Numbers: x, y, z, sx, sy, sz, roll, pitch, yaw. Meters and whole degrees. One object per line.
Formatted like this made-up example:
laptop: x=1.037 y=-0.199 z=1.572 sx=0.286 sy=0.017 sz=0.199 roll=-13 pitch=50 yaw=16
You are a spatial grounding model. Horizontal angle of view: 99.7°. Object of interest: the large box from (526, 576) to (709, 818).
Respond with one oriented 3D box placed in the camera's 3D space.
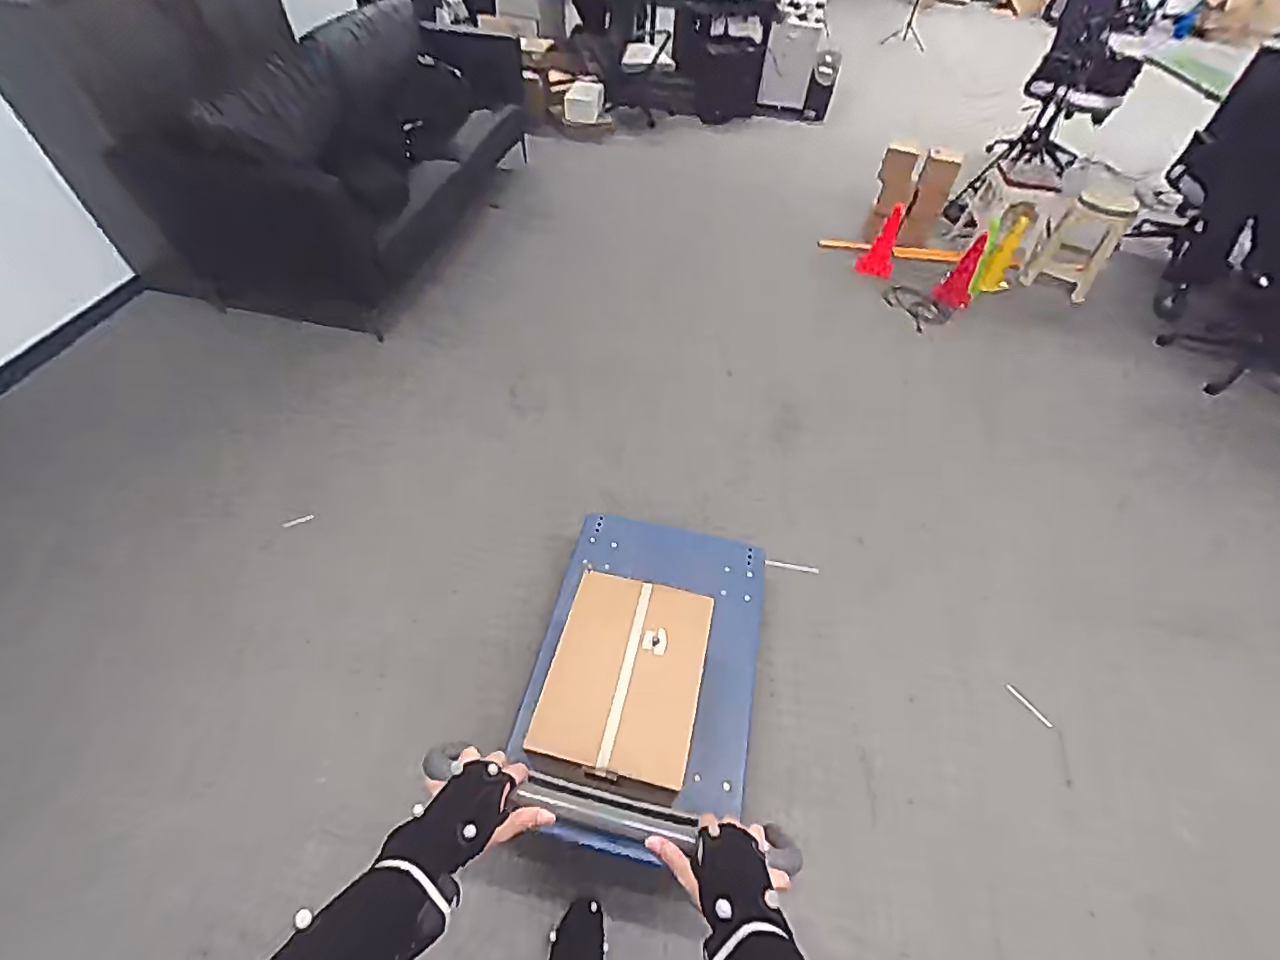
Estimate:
large box: x=-0.036 y=0.499 z=1.251 sx=0.320 sy=0.320 sz=0.408 roll=12 pitch=50 yaw=6
